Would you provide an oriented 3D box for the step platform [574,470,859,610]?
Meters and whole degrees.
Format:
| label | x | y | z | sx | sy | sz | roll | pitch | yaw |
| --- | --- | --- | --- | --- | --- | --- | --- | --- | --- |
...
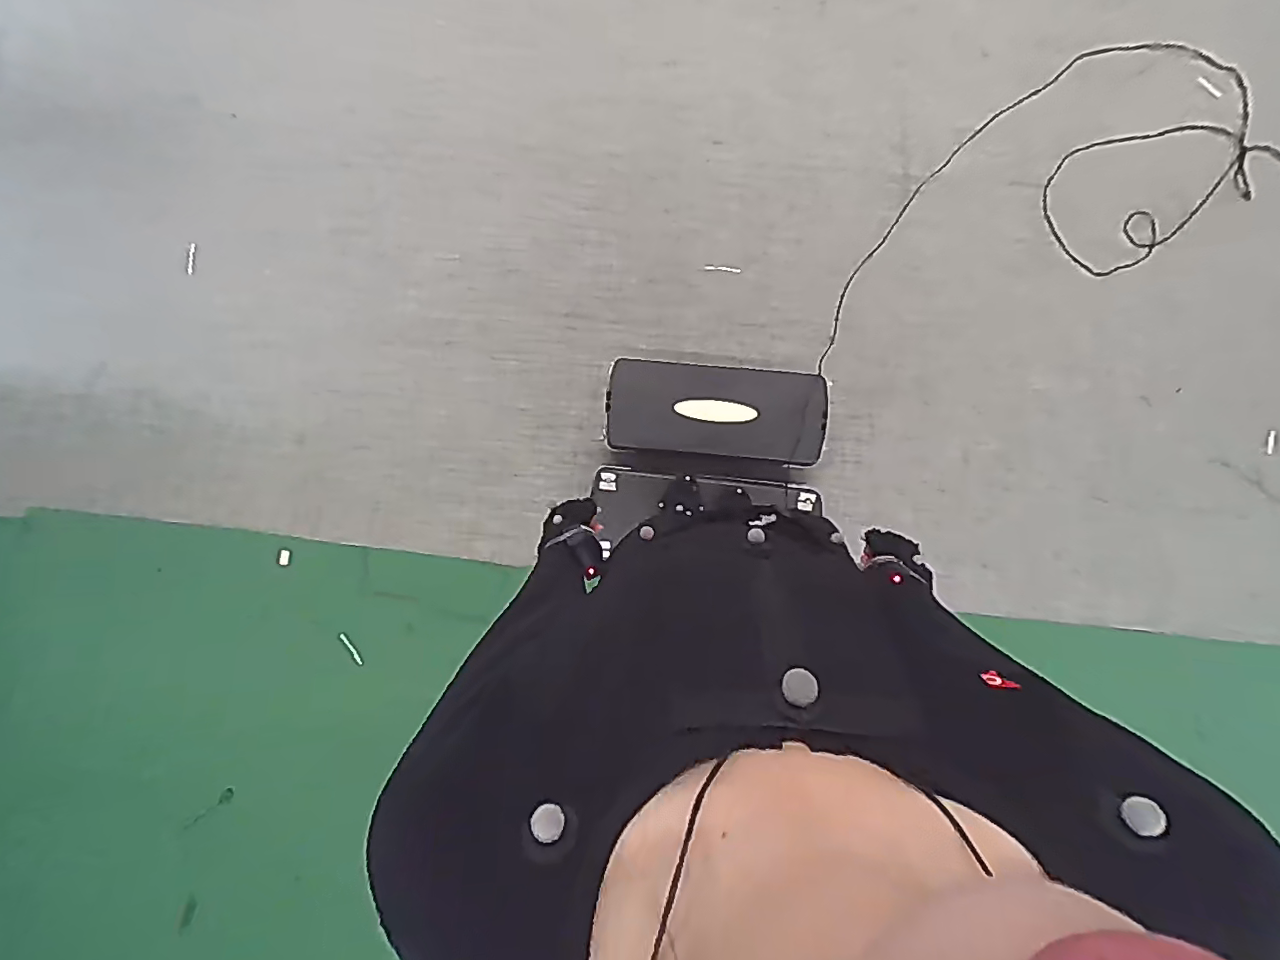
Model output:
| label | x | y | z | sx | sy | sz | roll | pitch | yaw |
| --- | --- | --- | --- | --- | --- | --- | --- | --- | --- |
| step platform | 0.185 | 0.143 | 1.392 | 0.684 | 0.204 | 0.286 | 6 | 90 | 2 |
